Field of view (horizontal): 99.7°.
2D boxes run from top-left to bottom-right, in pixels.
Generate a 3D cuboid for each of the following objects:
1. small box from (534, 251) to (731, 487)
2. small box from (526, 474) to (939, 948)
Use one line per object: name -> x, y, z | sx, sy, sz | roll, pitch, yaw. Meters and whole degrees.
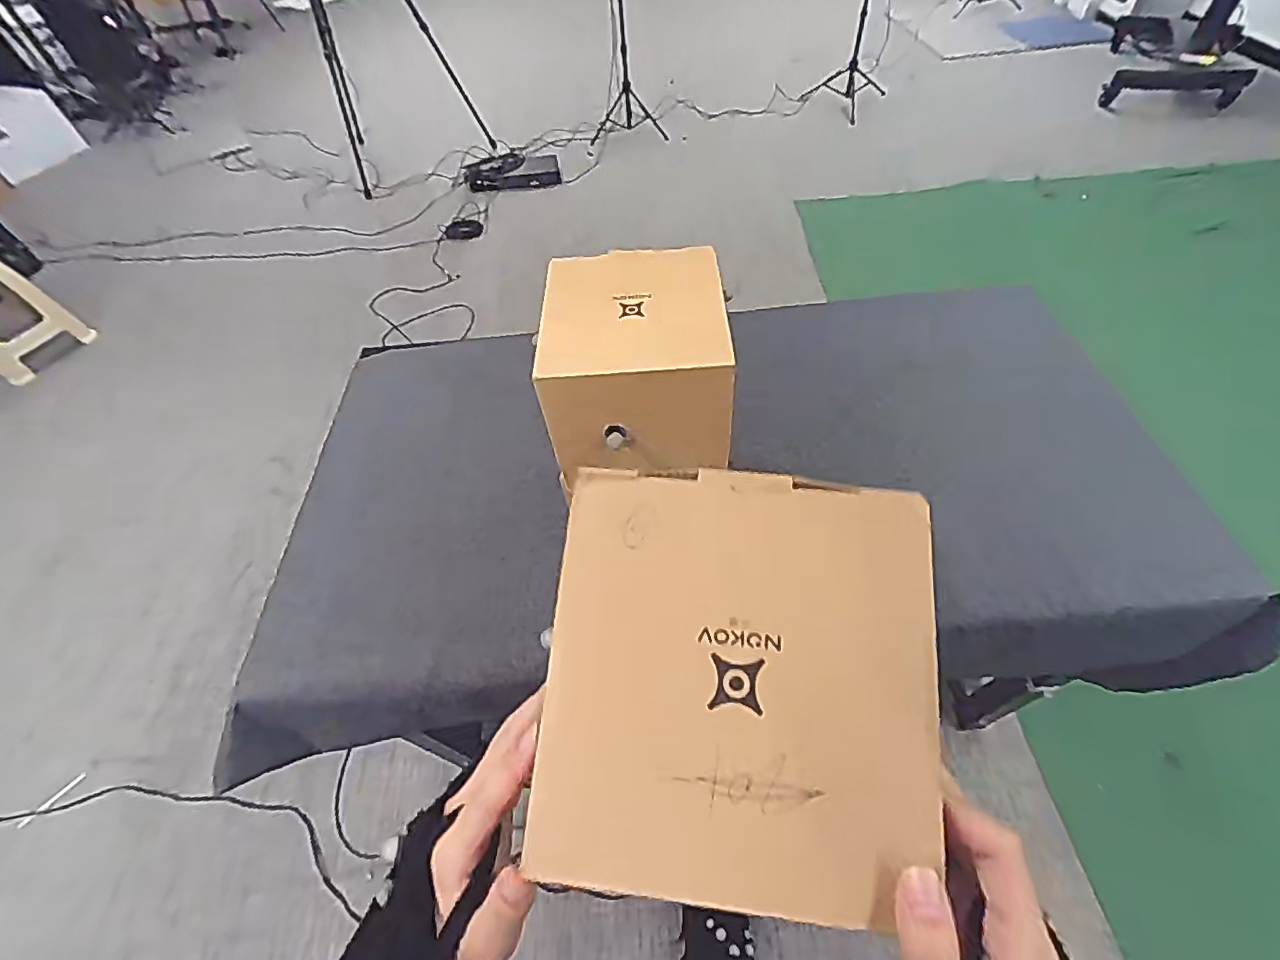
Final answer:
small box -> 0.000, -0.102, 0.548 | 0.168, 0.176, 0.179 | -3, 53, 2
small box -> 0.049, 0.110, 0.313 | 0.168, 0.176, 0.179 | 5, 74, 6
